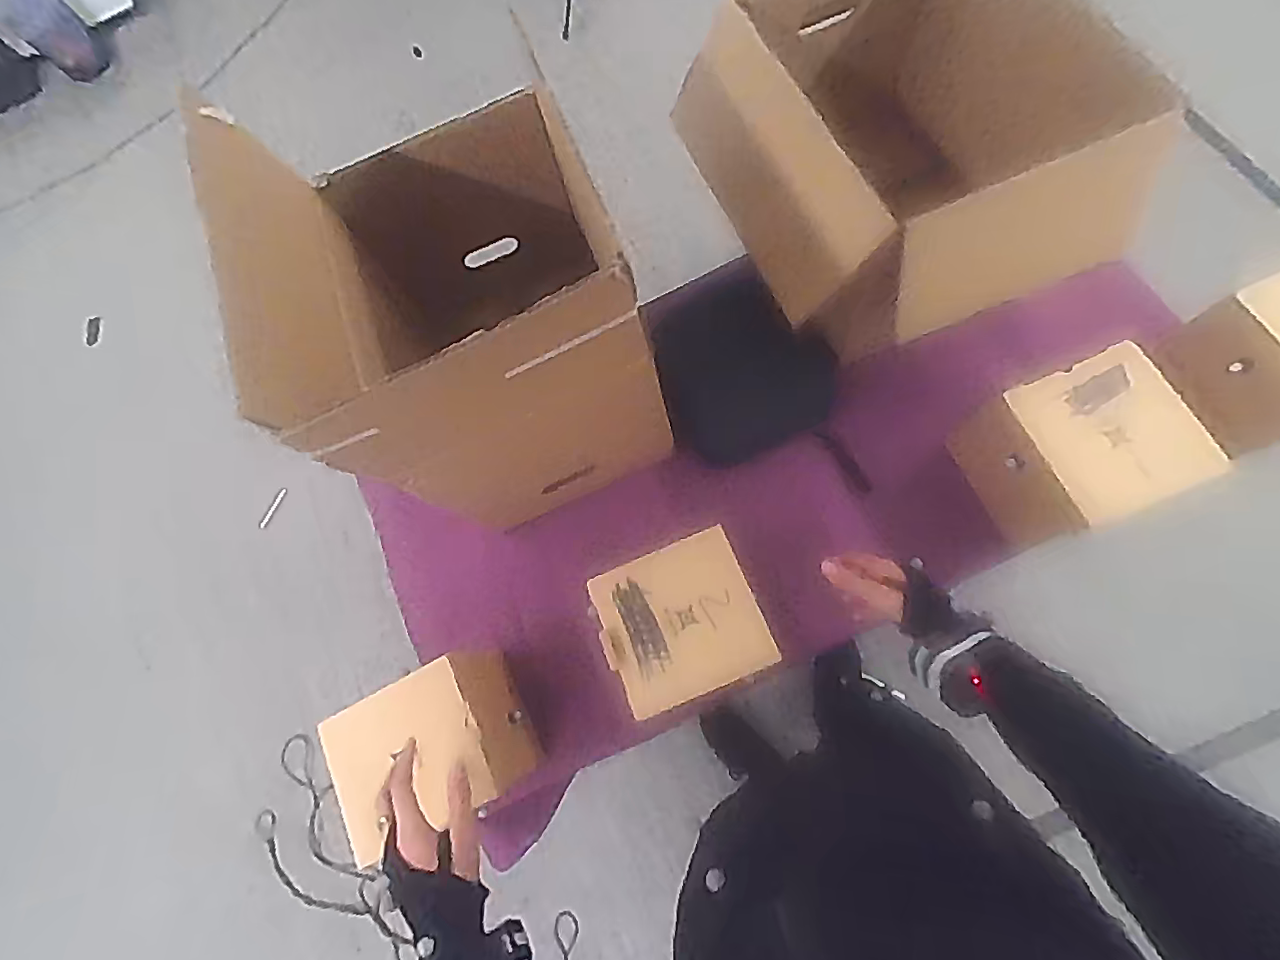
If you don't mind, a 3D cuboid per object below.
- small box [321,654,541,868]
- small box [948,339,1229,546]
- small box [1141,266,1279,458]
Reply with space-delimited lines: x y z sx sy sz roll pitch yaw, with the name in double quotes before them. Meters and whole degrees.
"small box" -0.253 0.337 0.685 0.179 0.176 0.168 -29 72 -2
"small box" 0.528 -0.035 0.673 0.168 0.176 0.179 -24 73 2
"small box" 0.788 -0.152 0.665 0.168 0.176 0.179 -23 72 2
